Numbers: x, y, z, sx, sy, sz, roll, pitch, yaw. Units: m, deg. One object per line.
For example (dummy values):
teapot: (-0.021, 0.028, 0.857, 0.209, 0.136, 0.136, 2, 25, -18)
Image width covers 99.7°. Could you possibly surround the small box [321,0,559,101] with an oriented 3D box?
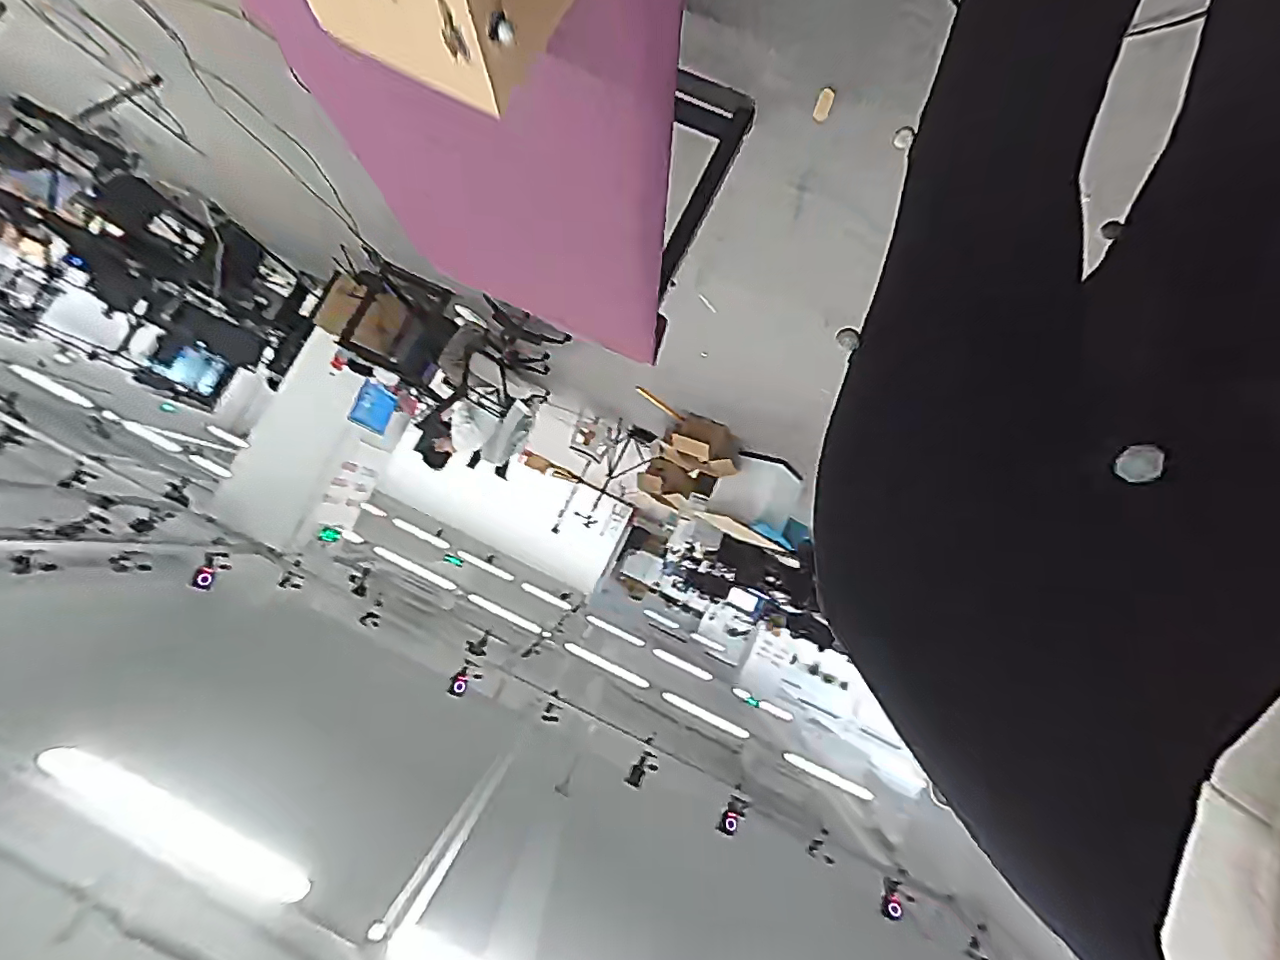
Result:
small box: (-0.149, -0.440, 0.389, 0.179, 0.176, 0.168, 29, 174, 1)
